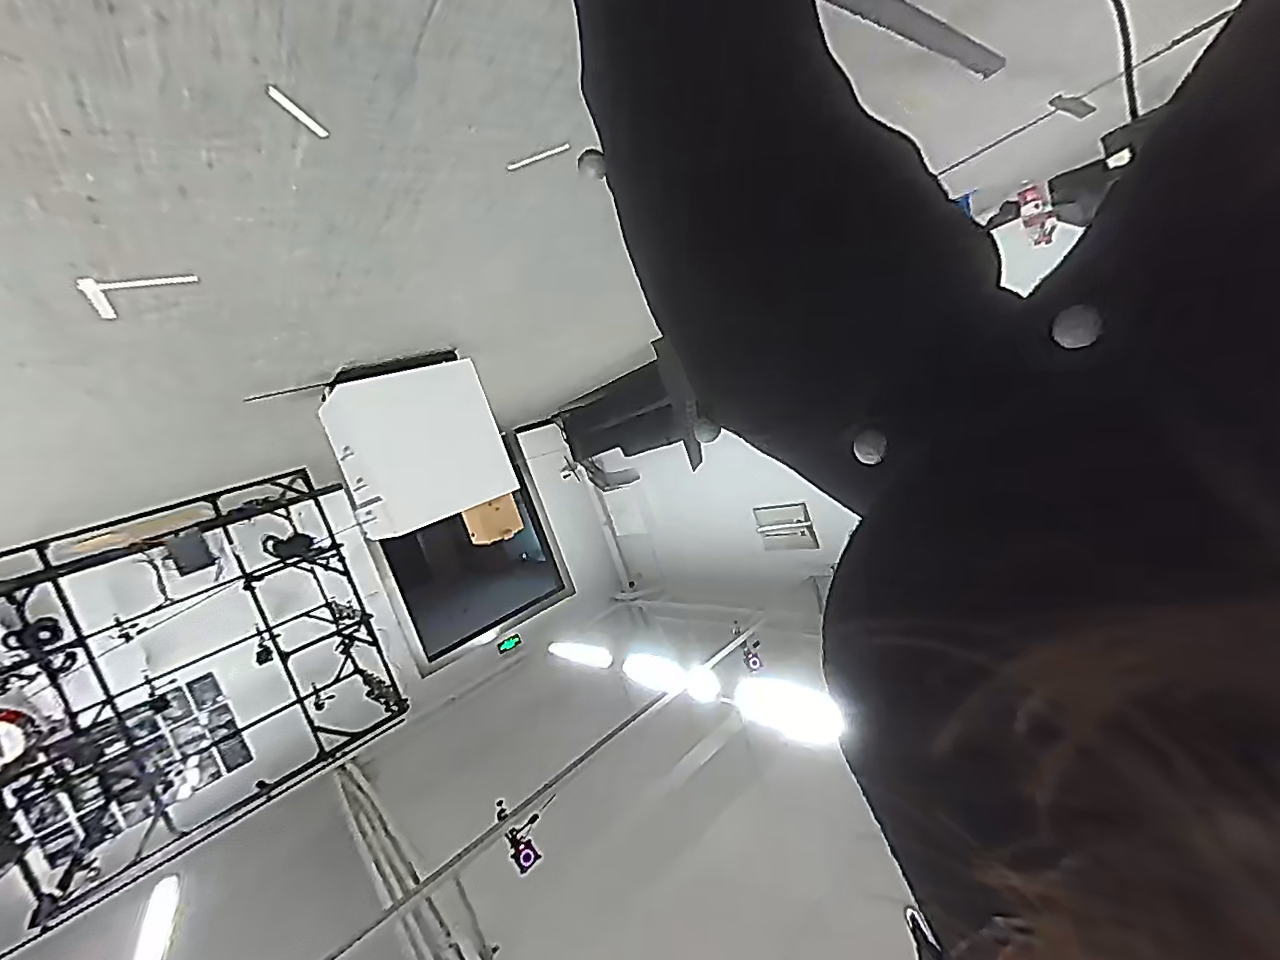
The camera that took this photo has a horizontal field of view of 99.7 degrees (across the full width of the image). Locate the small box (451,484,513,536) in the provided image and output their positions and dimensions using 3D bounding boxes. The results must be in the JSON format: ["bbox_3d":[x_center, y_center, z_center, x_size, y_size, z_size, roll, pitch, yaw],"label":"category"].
[{"bbox_3d":[-0.664,0.124,2.252,0.168,0.176,0.179,-28,-169,-38],"label":"small box"}]
